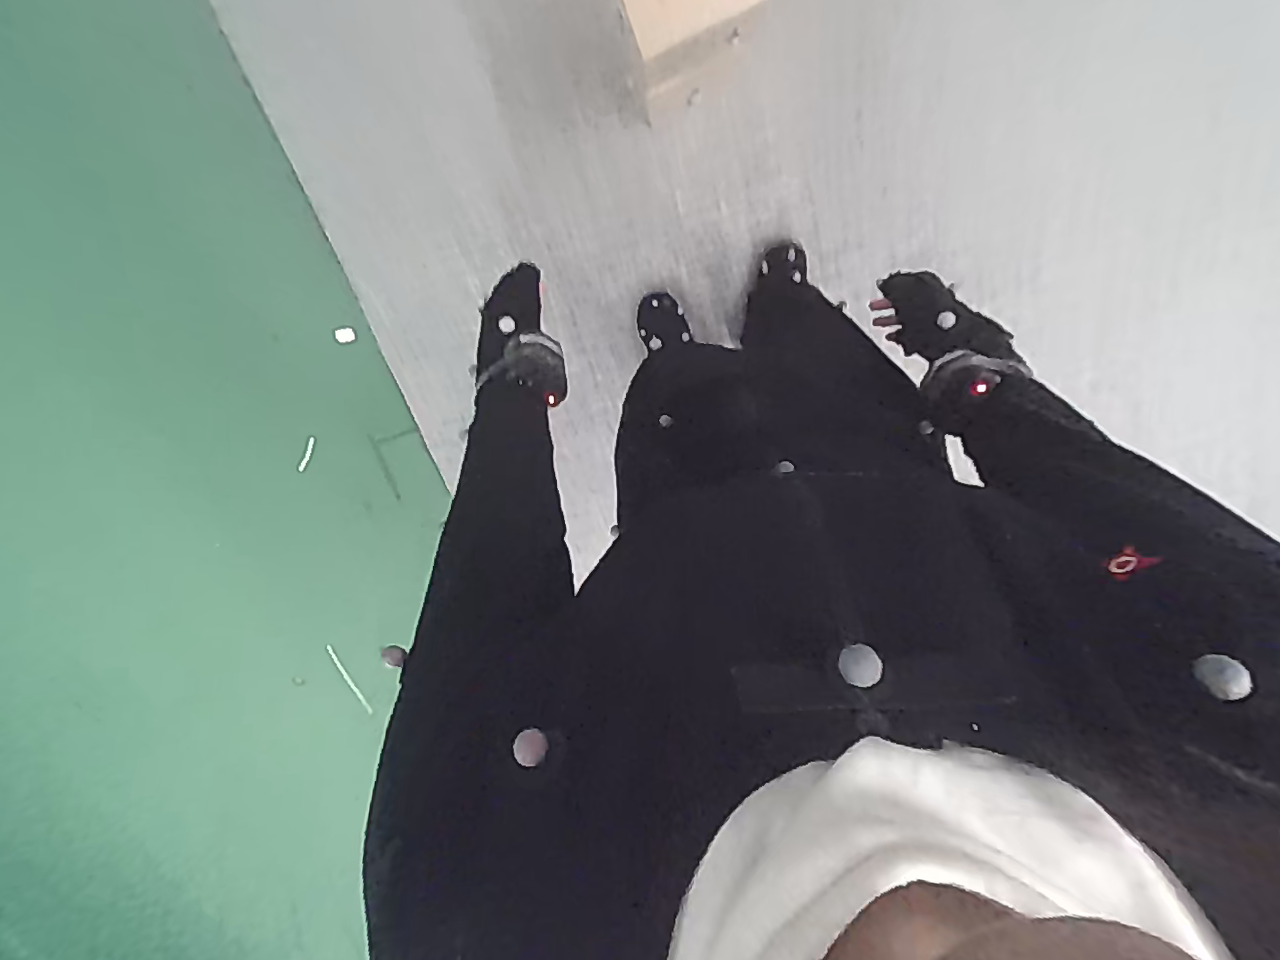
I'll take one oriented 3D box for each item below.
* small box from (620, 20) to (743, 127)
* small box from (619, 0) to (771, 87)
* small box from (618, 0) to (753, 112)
[{"bbox_3d":[0.076,-0.813,1.031,0.179,0.176,0.168,-24,111,13],"label":"small box"},{"bbox_3d":[0.061,-0.679,0.735,0.179,0.176,0.168,-20,111,13],"label":"small box"},{"bbox_3d":[0.068,-0.741,0.885,0.179,0.176,0.168,-19,112,11],"label":"small box"}]
